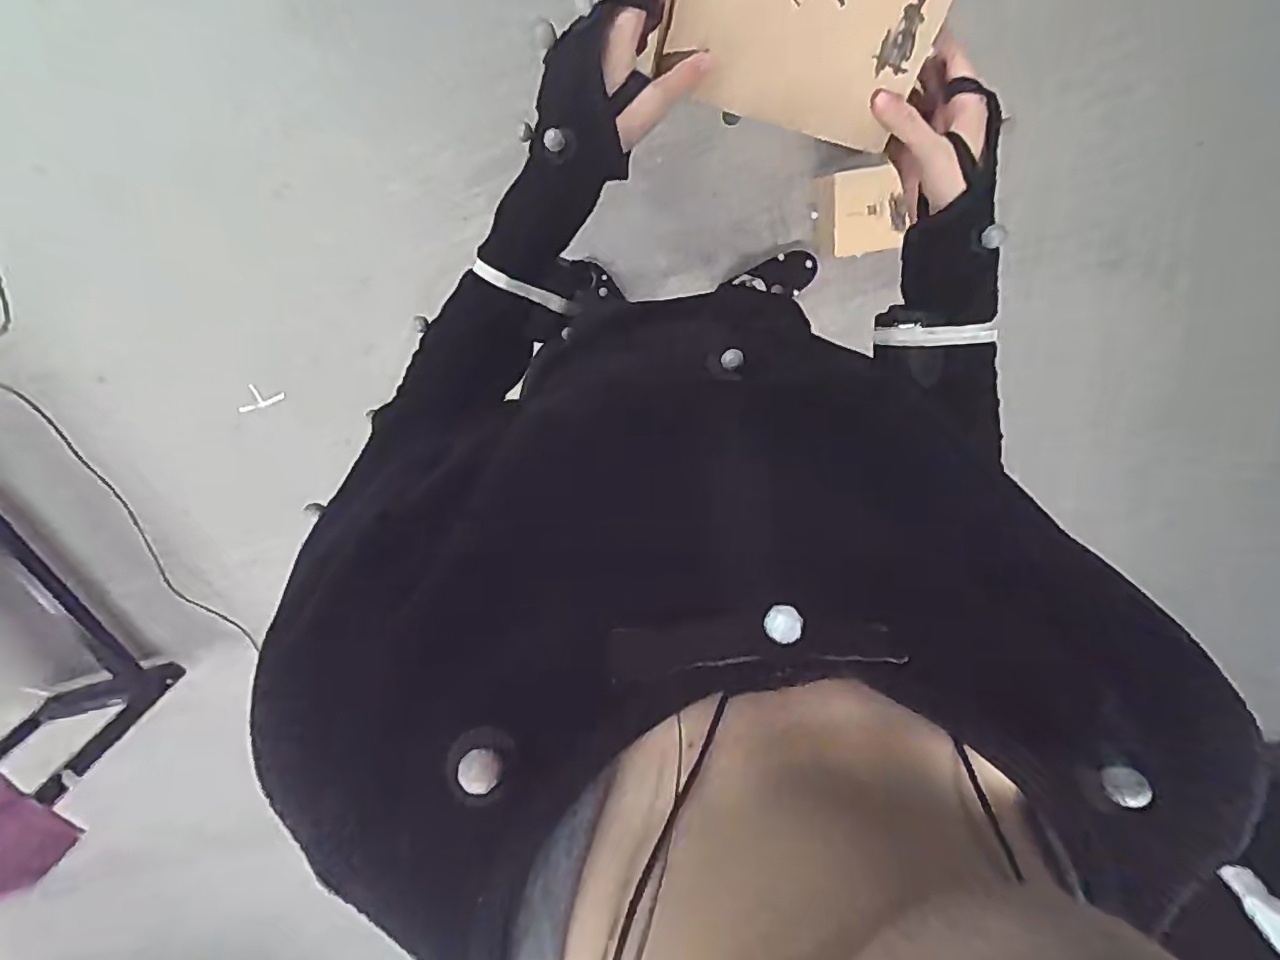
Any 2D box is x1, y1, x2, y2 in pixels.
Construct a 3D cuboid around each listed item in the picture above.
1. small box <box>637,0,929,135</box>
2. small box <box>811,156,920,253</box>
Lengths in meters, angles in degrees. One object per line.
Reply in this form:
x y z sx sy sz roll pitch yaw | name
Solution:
0.100 -0.373 0.385 0.179 0.176 0.168 10 131 -9 | small box
0.496 -0.613 1.212 0.179 0.176 0.168 -7 114 4 | small box
